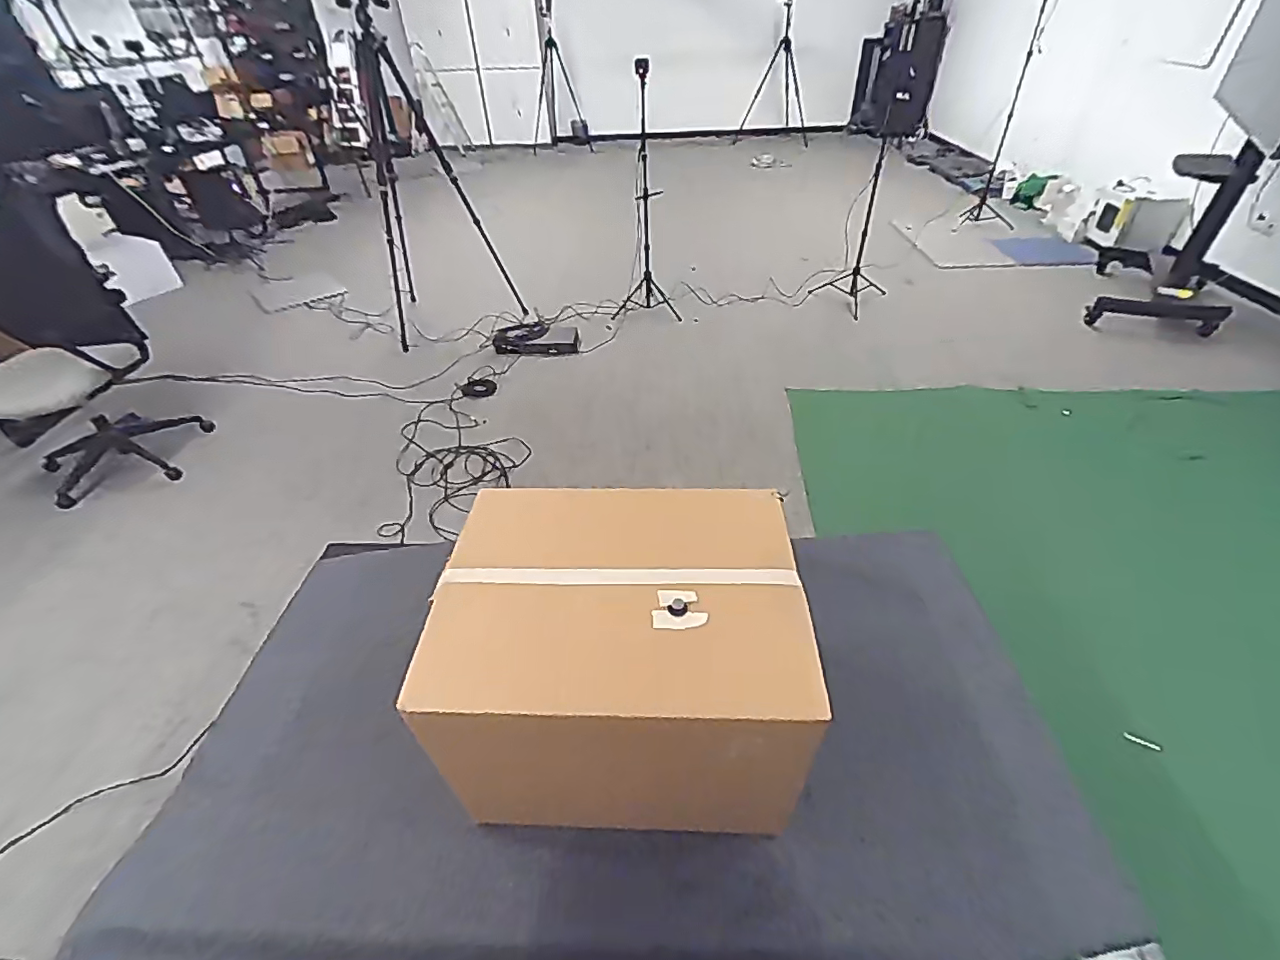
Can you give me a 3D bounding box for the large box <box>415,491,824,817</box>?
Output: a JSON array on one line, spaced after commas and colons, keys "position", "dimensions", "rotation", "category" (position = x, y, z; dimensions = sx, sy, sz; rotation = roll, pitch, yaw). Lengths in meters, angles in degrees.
[{"position": [-0.017, 0.229, 0.724], "dimensions": [0.408, 0.320, 0.320], "rotation": [0, 42, 3], "category": "large box"}]
